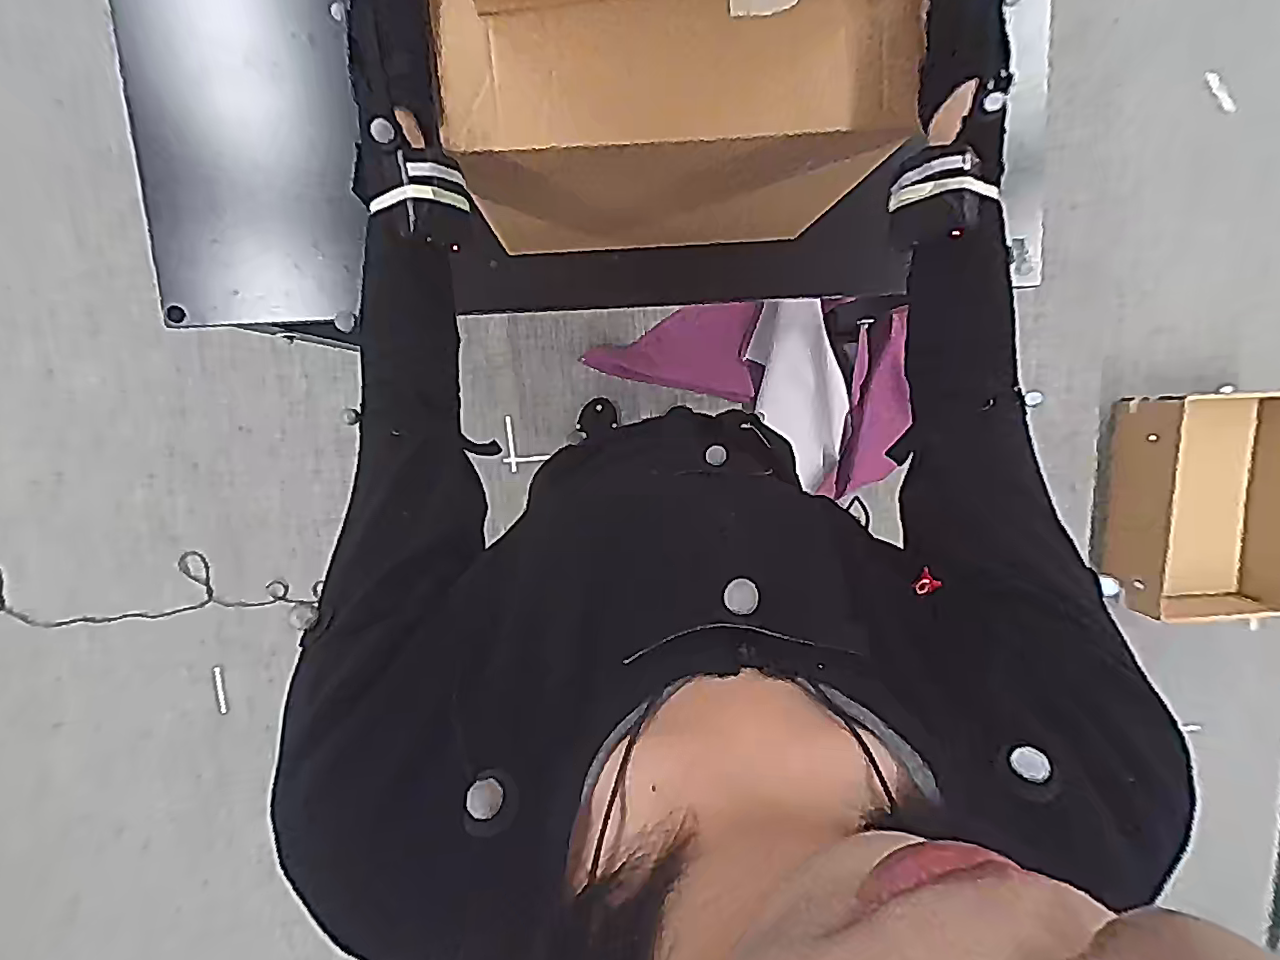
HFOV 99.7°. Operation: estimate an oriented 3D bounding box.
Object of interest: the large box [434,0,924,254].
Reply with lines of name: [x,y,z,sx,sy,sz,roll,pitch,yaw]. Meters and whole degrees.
large box: [0.017,-0.456,0.573,0.408,0.320,0.320,-6,99,-4]
